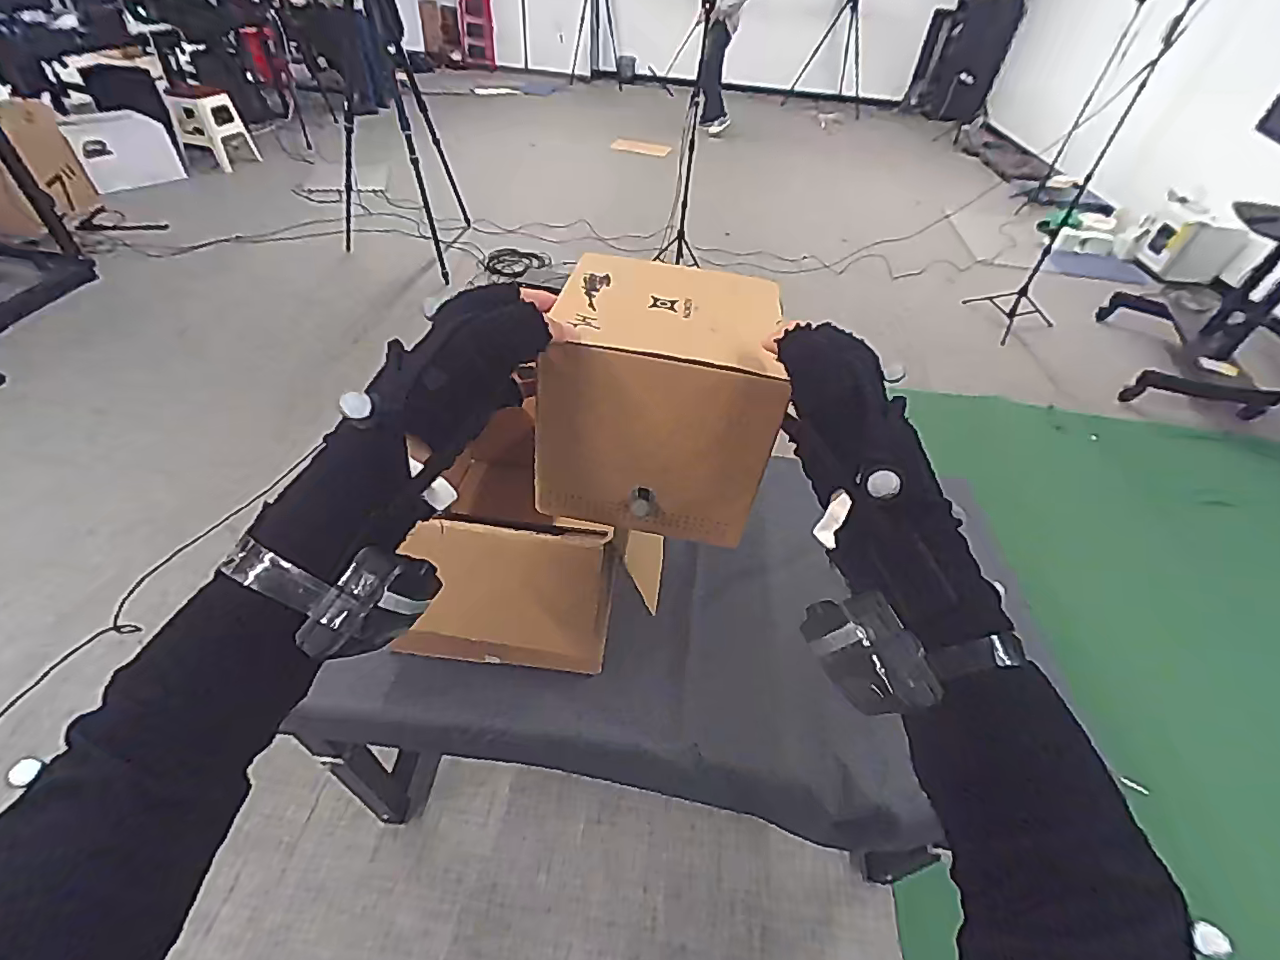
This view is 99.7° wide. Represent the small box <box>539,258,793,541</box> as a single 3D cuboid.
[{"bbox_3d":[0.017,-0.067,0.471,0.179,0.176,0.168,10,41,1],"label":"small box"}]
